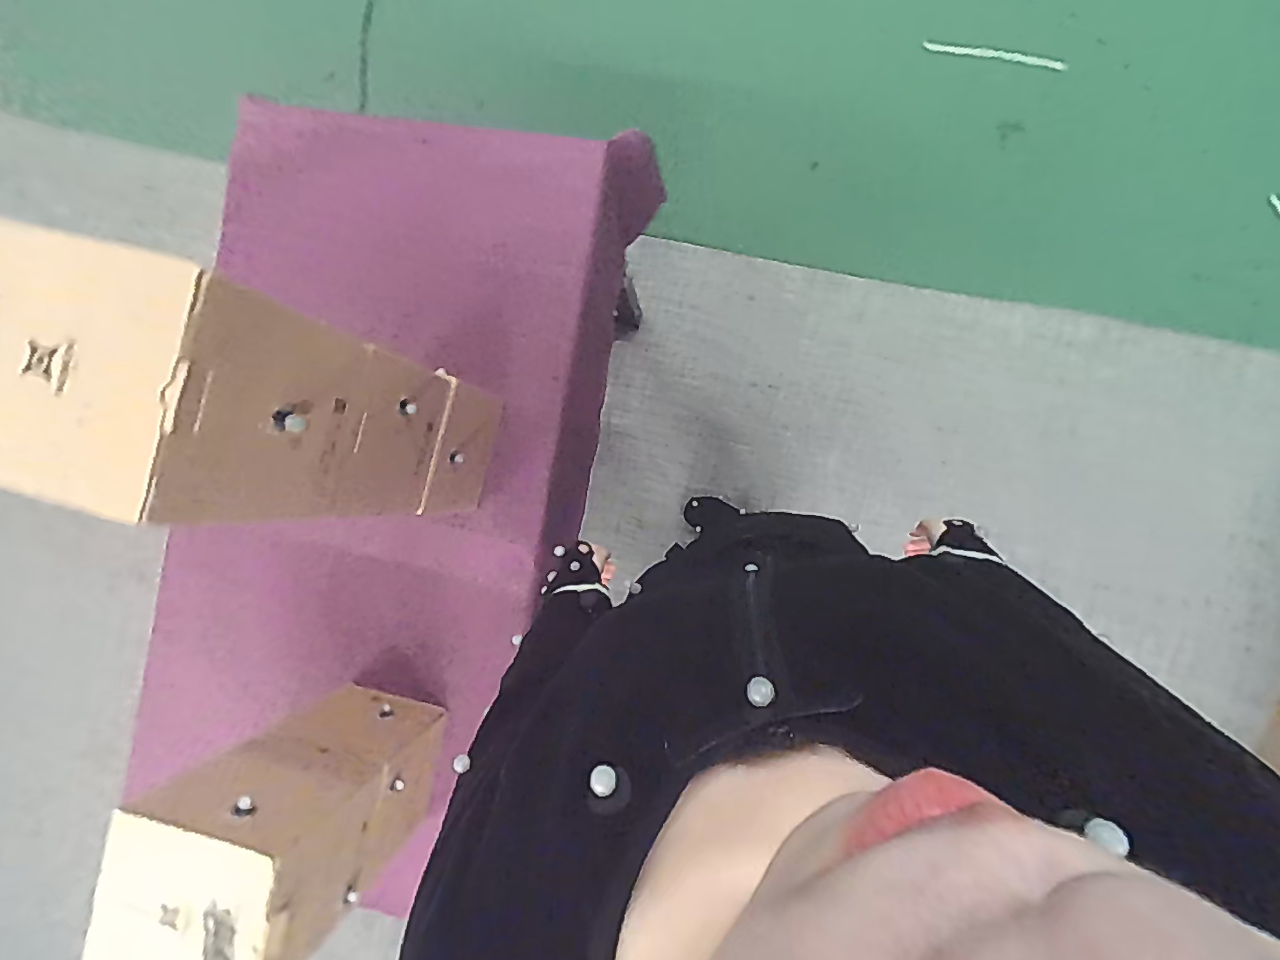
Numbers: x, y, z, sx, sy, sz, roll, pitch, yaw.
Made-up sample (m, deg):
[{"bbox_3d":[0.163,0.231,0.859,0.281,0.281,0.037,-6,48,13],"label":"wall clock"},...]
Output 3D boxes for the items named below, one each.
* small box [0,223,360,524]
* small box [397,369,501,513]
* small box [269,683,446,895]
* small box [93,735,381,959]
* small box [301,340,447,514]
[{"bbox_3d":[-0.361,-0.069,0.427,0.179,0.176,0.168,14,89,6],"label":"small box"},{"bbox_3d":[-0.312,-0.062,0.751,0.168,0.176,0.179,15,90,6],"label":"small box"},{"bbox_3d":[-0.392,0.410,0.750,0.168,0.176,0.179,11,89,7],"label":"small box"},{"bbox_3d":[-0.417,0.405,0.587,0.179,0.176,0.168,10,89,8],"label":"small box"},{"bbox_3d":[-0.340,-0.068,0.590,0.179,0.176,0.168,15,90,8],"label":"small box"}]
